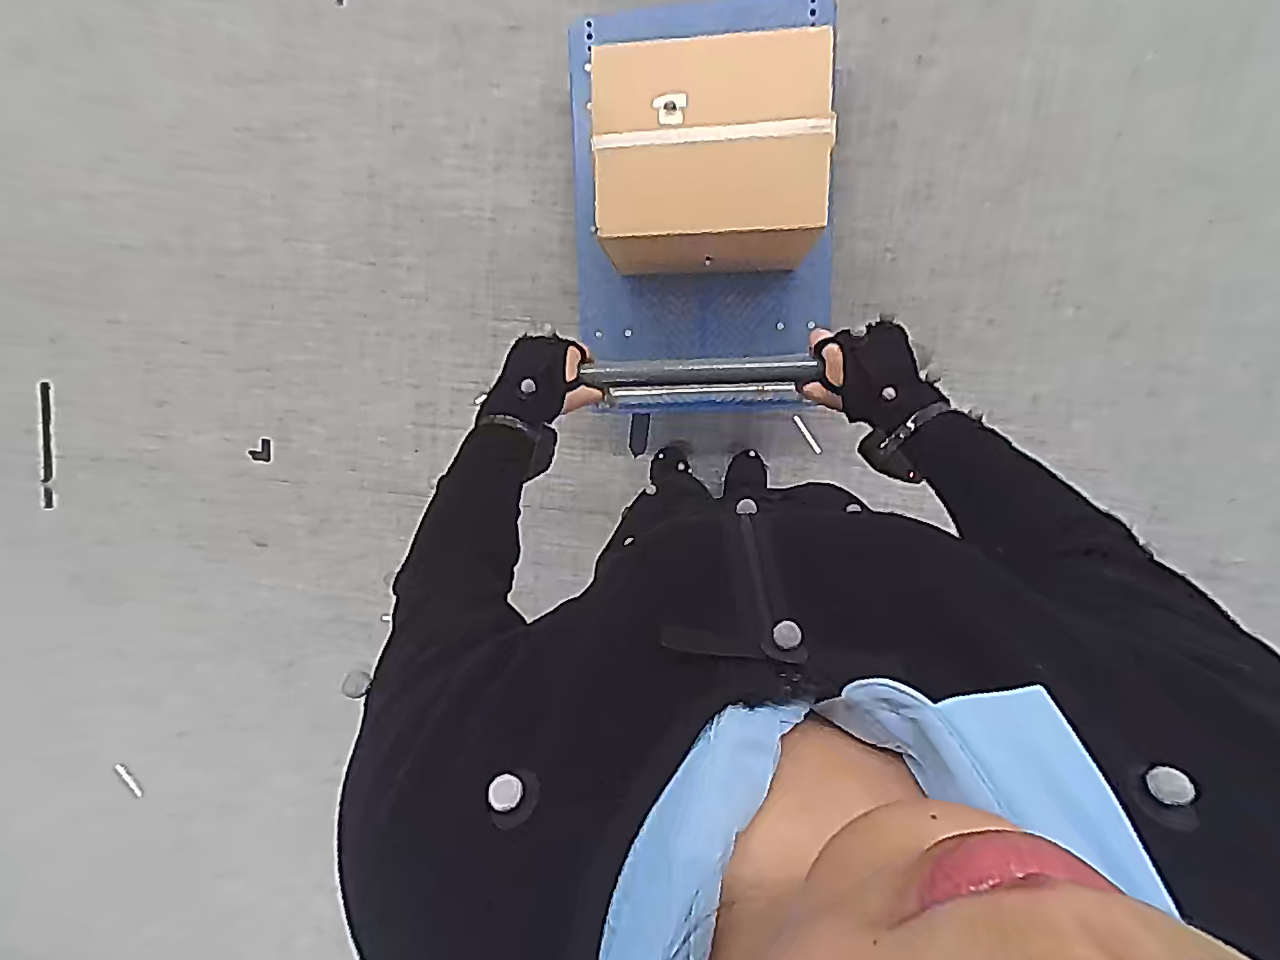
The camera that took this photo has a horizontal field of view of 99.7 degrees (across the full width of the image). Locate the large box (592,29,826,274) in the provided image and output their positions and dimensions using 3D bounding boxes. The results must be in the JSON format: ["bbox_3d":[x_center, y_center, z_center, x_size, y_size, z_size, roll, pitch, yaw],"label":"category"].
[{"bbox_3d":[0.138,-0.614,1.084,0.408,0.320,0.320,0,97,7],"label":"large box"}]
